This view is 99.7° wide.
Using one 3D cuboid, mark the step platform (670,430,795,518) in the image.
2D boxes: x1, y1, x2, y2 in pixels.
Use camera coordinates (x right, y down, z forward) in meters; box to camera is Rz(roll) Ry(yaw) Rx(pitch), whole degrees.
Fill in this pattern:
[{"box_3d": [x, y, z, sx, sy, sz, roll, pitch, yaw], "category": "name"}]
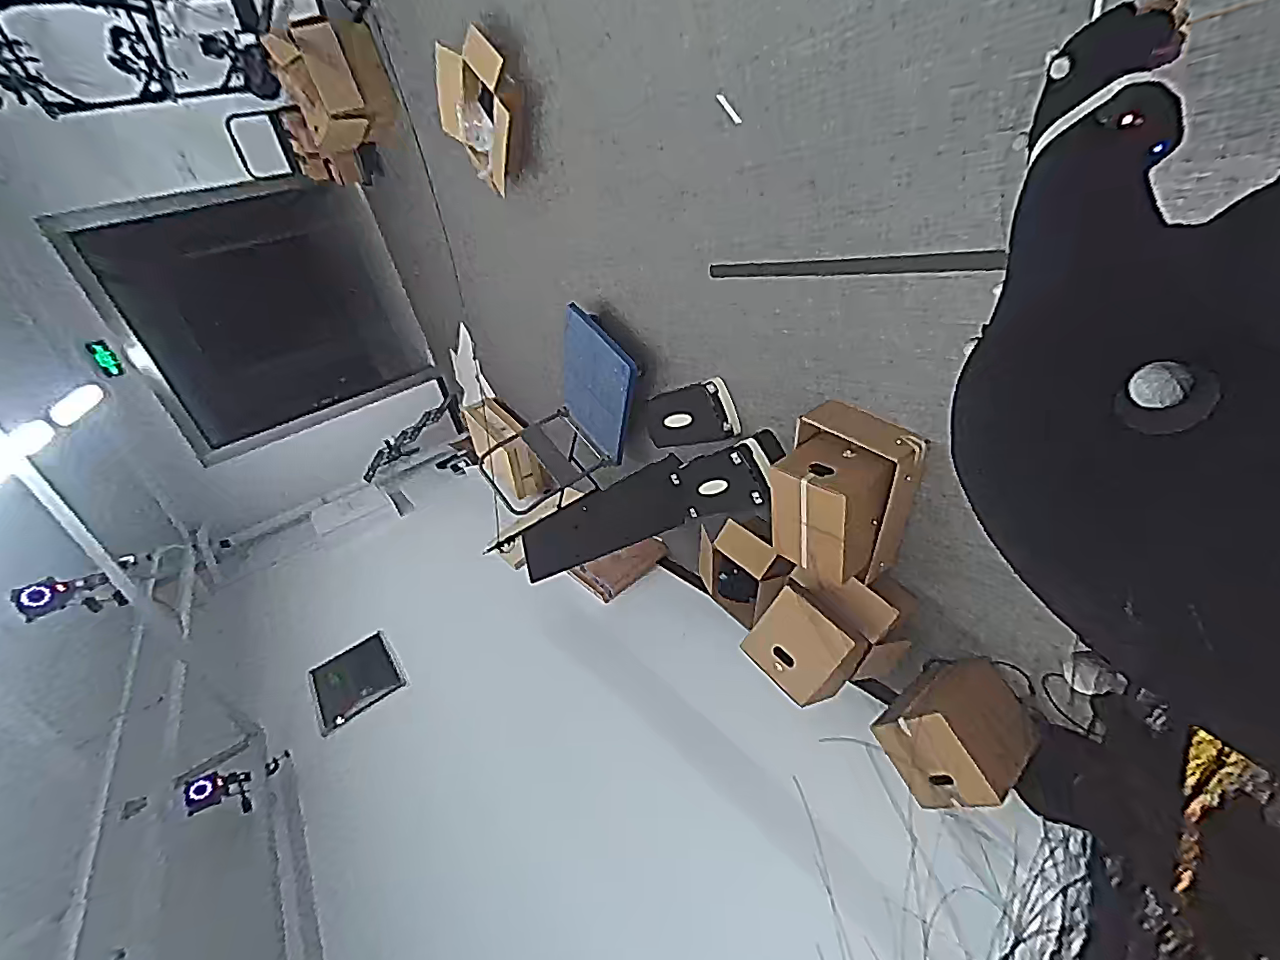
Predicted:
[{"box_3d": [0.414, -0.006, 2.597, 0.286, 0.204, 0.684, 62, 153, -3], "category": "step platform"}]
